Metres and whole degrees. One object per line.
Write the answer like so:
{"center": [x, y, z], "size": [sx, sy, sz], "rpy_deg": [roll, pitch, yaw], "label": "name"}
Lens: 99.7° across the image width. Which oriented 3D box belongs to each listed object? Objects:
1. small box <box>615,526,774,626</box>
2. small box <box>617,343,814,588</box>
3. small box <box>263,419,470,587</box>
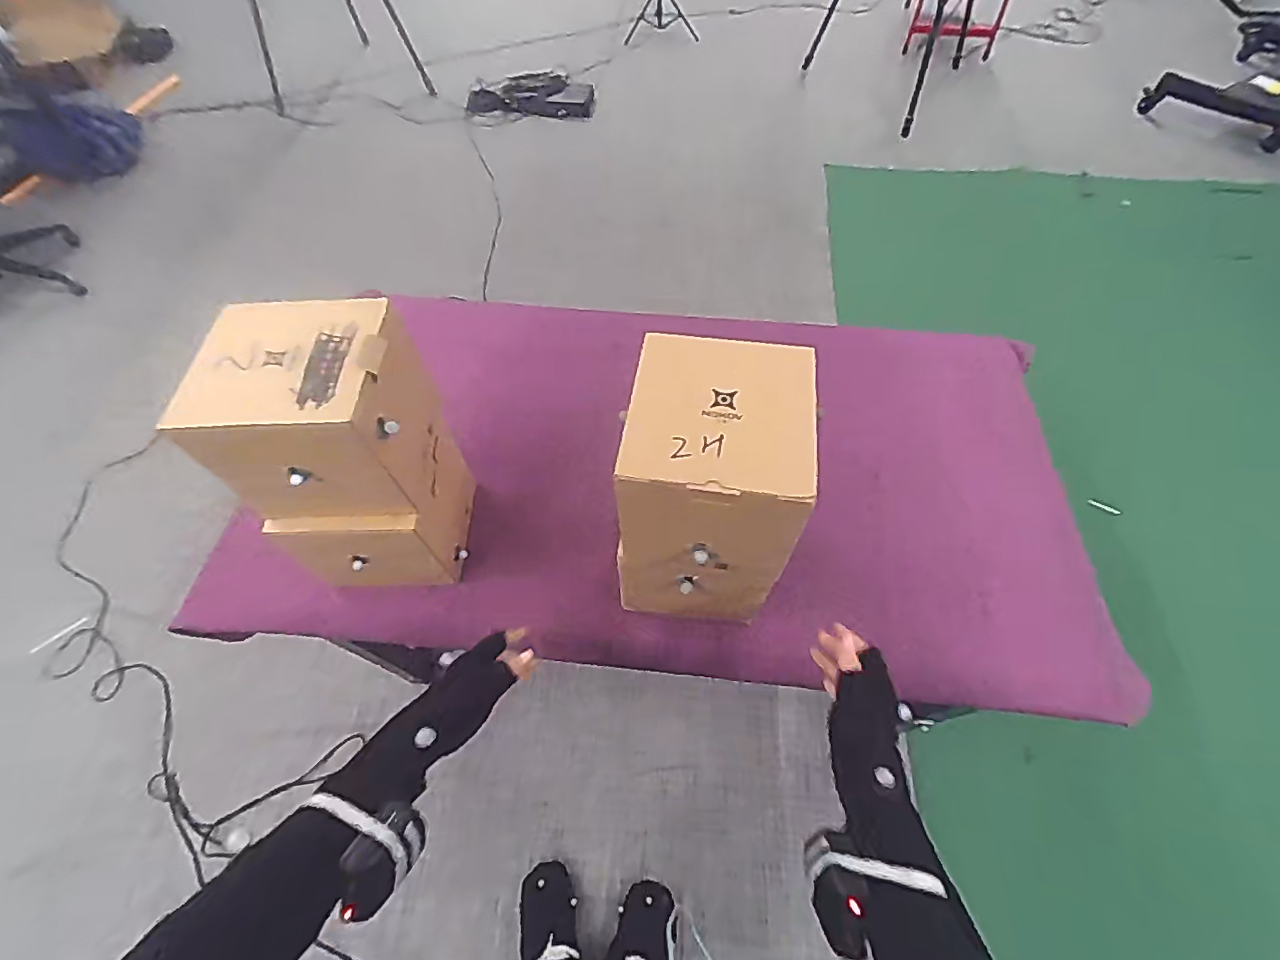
{"center": [0.069, 0.078, 0.696], "size": [0.179, 0.176, 0.168], "rpy_deg": [6, 58, 5], "label": "small box"}
{"center": [0.074, -0.011, 0.557], "size": [0.168, 0.176, 0.179], "rpy_deg": [8, 58, 6], "label": "small box"}
{"center": [-0.339, 0.035, 0.718], "size": [0.179, 0.176, 0.168], "rpy_deg": [0, 58, 0], "label": "small box"}
